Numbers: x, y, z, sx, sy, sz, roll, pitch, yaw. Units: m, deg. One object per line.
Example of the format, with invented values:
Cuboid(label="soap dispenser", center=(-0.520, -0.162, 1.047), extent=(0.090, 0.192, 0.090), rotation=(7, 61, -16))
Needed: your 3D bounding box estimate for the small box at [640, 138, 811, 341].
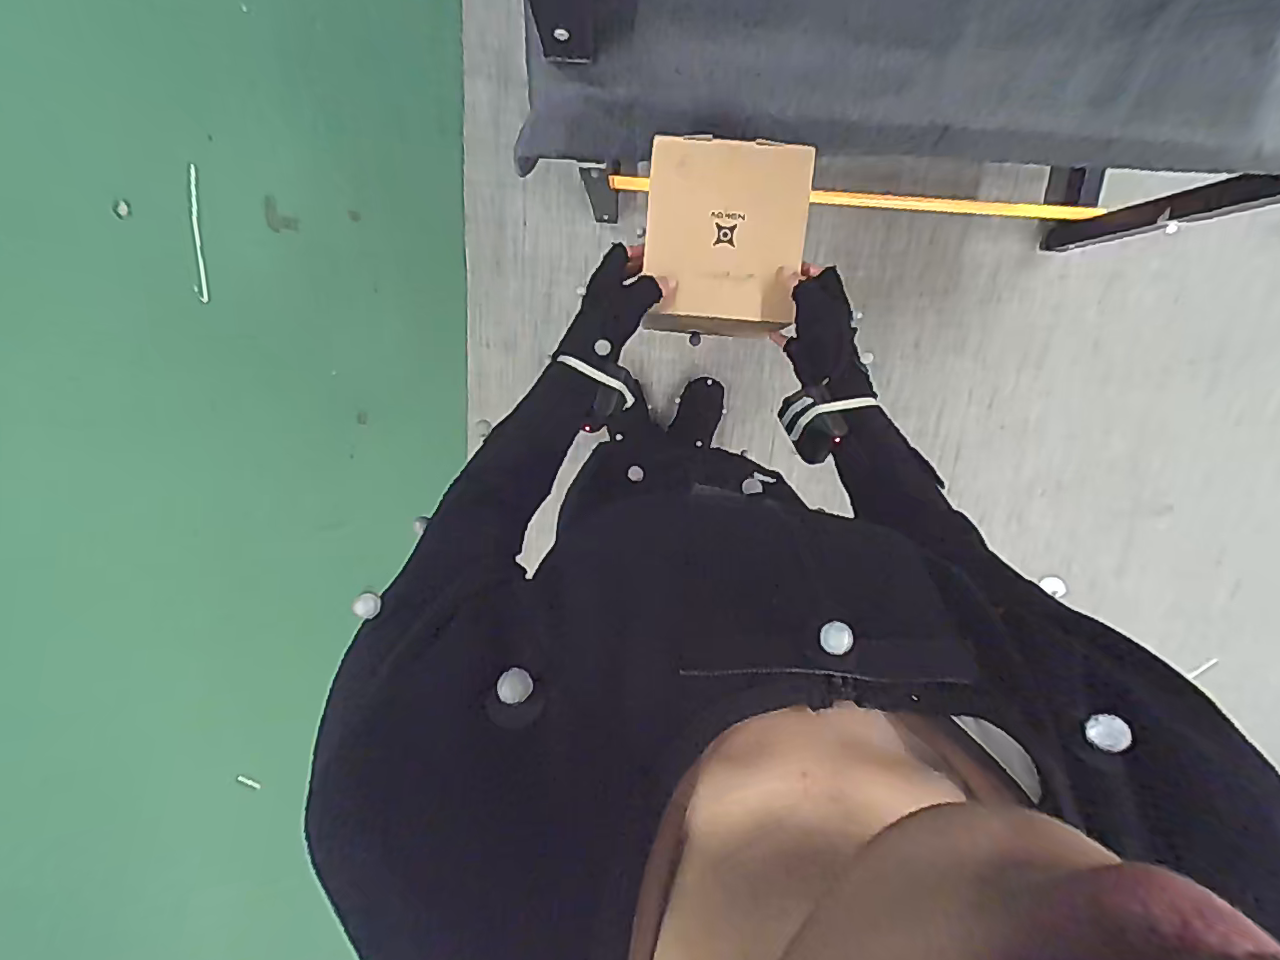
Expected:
Cuboid(label="small box", center=(0.089, -0.268, 0.640), extent=(0.168, 0.176, 0.179), rotation=(4, 99, 2))
